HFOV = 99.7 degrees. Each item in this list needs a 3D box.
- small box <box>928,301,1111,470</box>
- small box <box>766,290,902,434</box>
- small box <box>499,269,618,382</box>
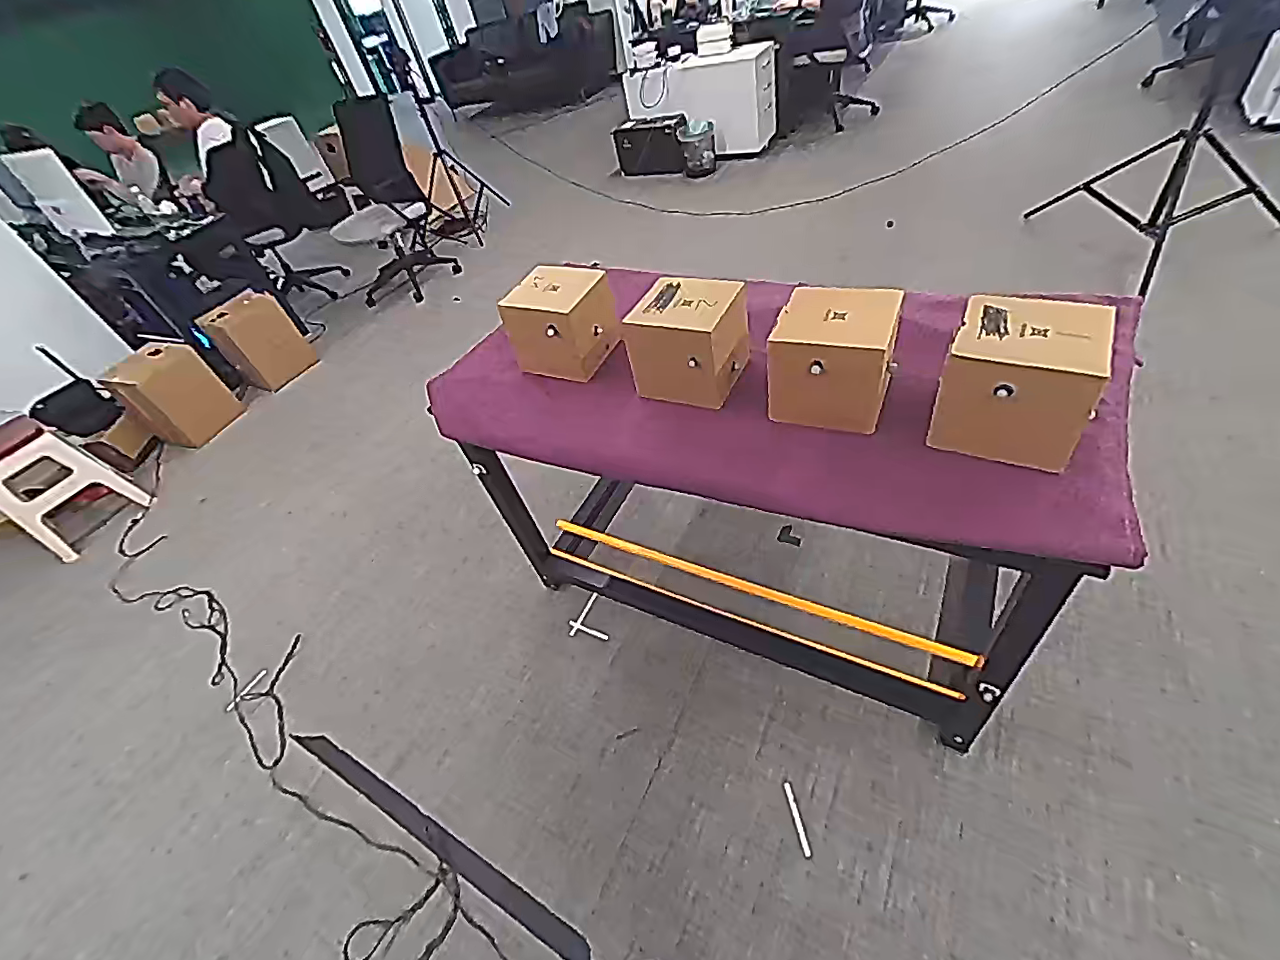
[{"bbox_3d":[0.538,-0.137,0.784,0.179,0.176,0.168,17,53,29],"label":"small box"},{"bbox_3d":[0.324,-0.197,0.909,0.179,0.176,0.168,12,51,26],"label":"small box"},{"bbox_3d":[-0.165,-0.331,1.168,0.179,0.176,0.168,14,52,24],"label":"small box"}]
